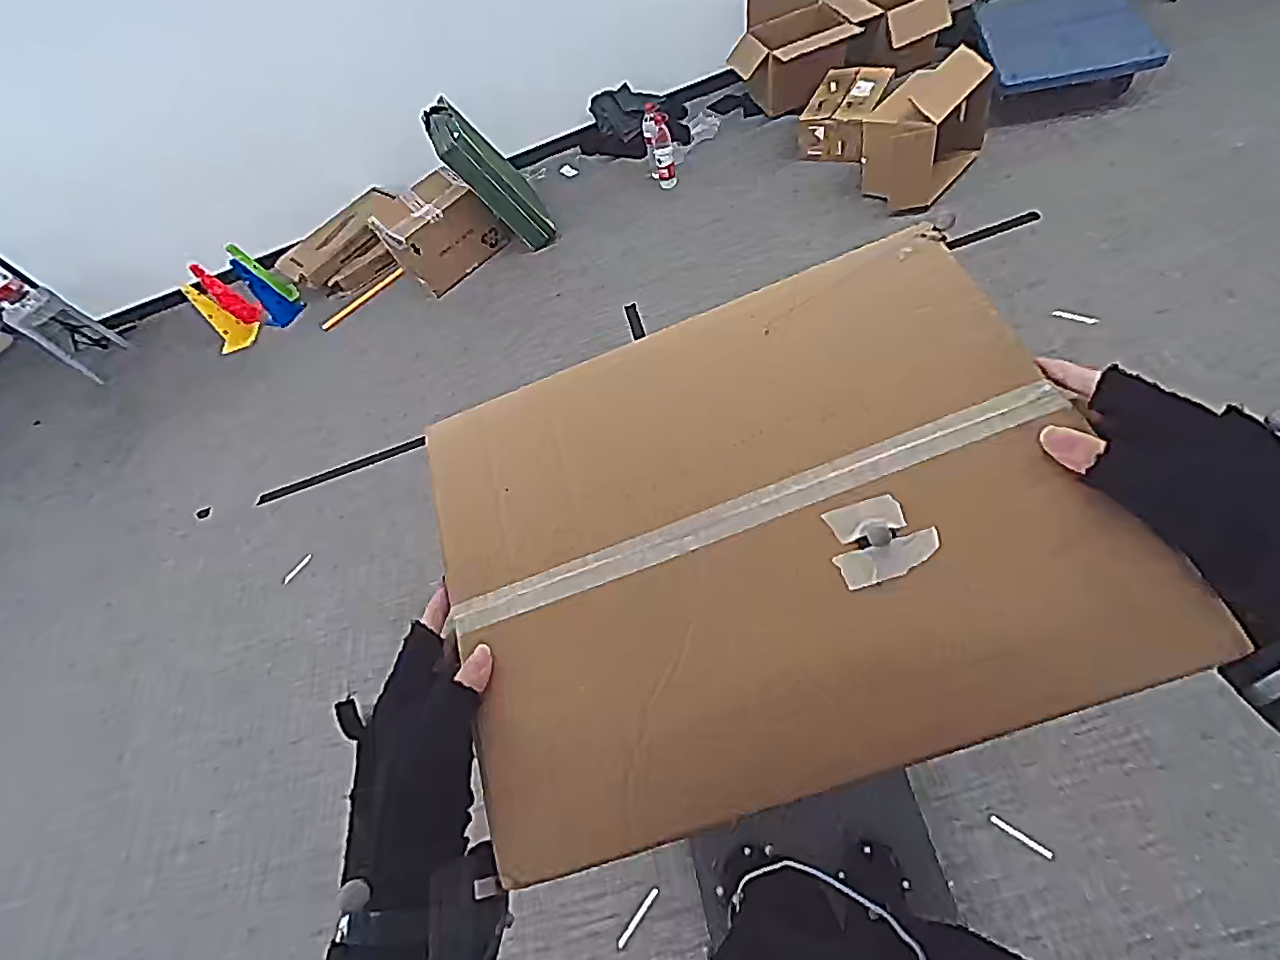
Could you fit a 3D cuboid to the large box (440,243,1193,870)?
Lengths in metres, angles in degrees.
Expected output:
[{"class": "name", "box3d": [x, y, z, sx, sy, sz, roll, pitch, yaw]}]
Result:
[{"class": "large box", "box3d": [0.097, 0.077, 0.495, 0.408, 0.320, 0.320, -21, 67, 4]}]
